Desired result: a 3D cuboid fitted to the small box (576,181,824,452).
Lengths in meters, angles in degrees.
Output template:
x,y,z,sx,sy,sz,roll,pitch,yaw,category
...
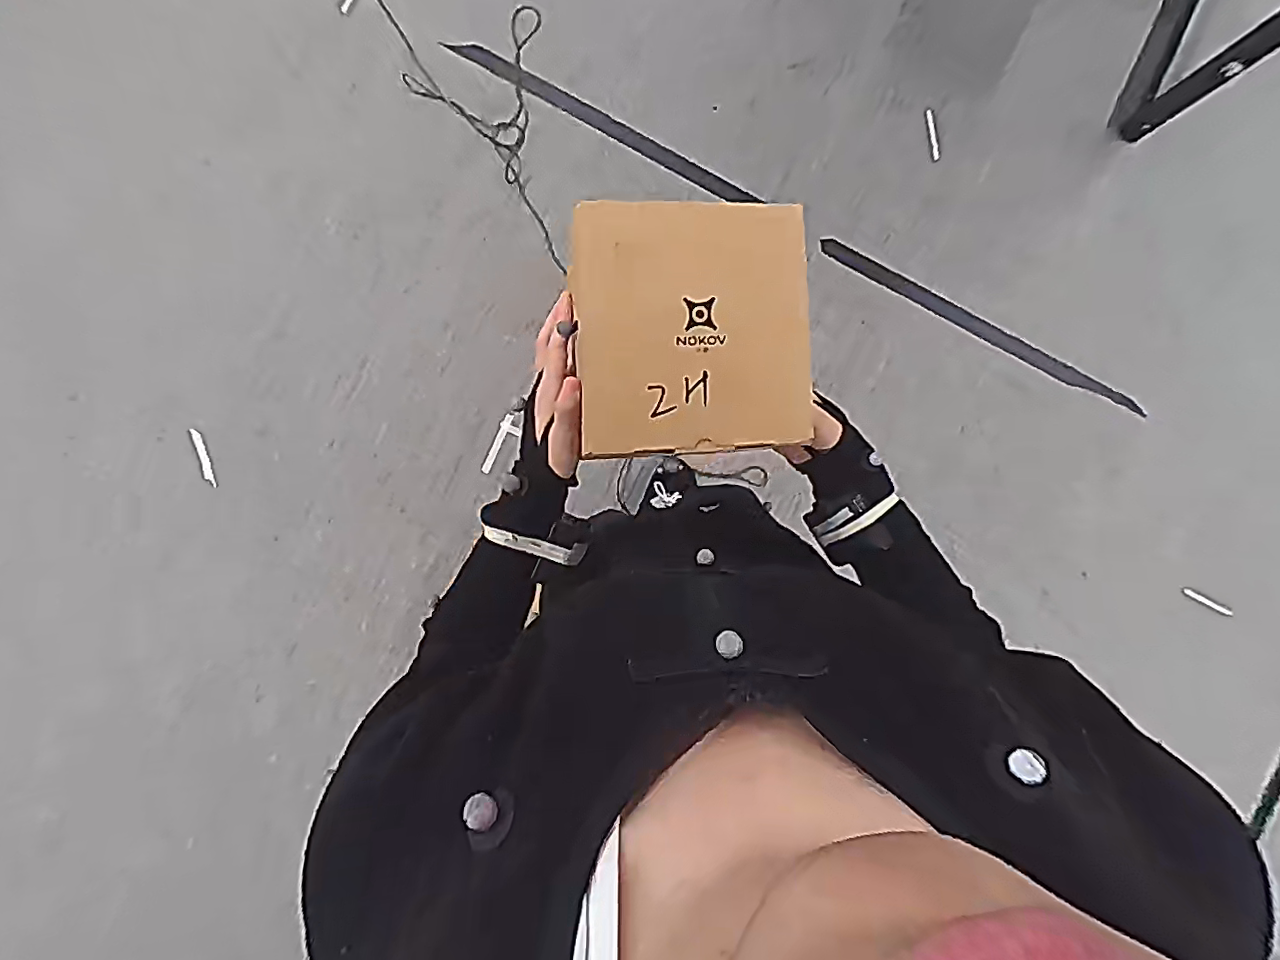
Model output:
x,y,z,sx,sy,sz,roll,pitch,yaw,category
0.035,-0.116,0.451,0.168,0.176,0.179,-3,92,-9,small box
